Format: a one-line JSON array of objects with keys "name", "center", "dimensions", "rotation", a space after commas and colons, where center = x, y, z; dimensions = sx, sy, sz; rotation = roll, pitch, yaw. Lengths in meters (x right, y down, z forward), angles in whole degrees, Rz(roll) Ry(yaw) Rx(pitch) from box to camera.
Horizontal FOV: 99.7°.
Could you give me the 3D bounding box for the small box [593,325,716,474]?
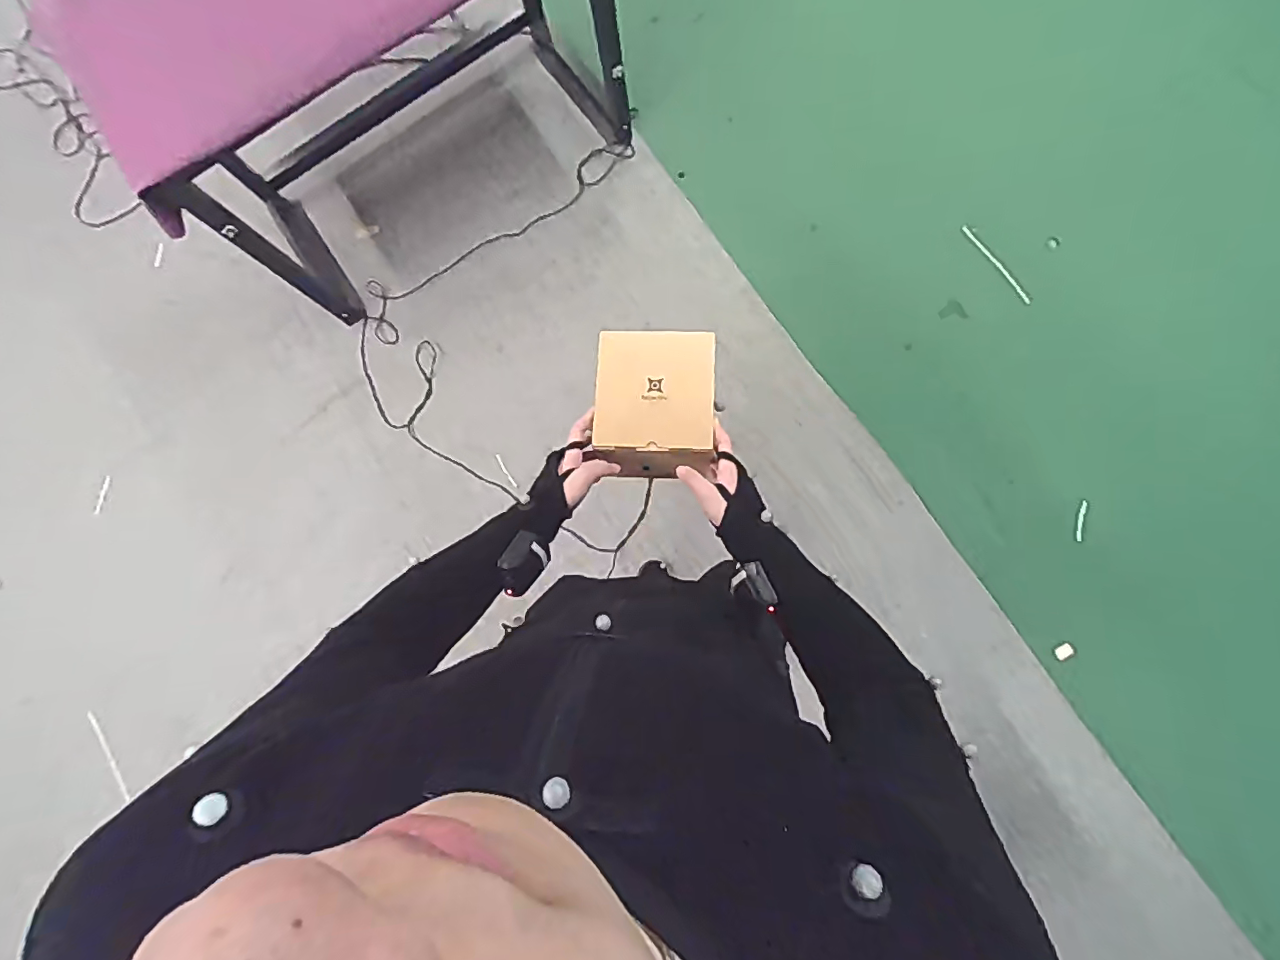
[{"name": "small box", "center": [0.024, -0.115, 0.820], "dimensions": [0.168, 0.176, 0.179], "rotation": [1, 79, 3]}]
